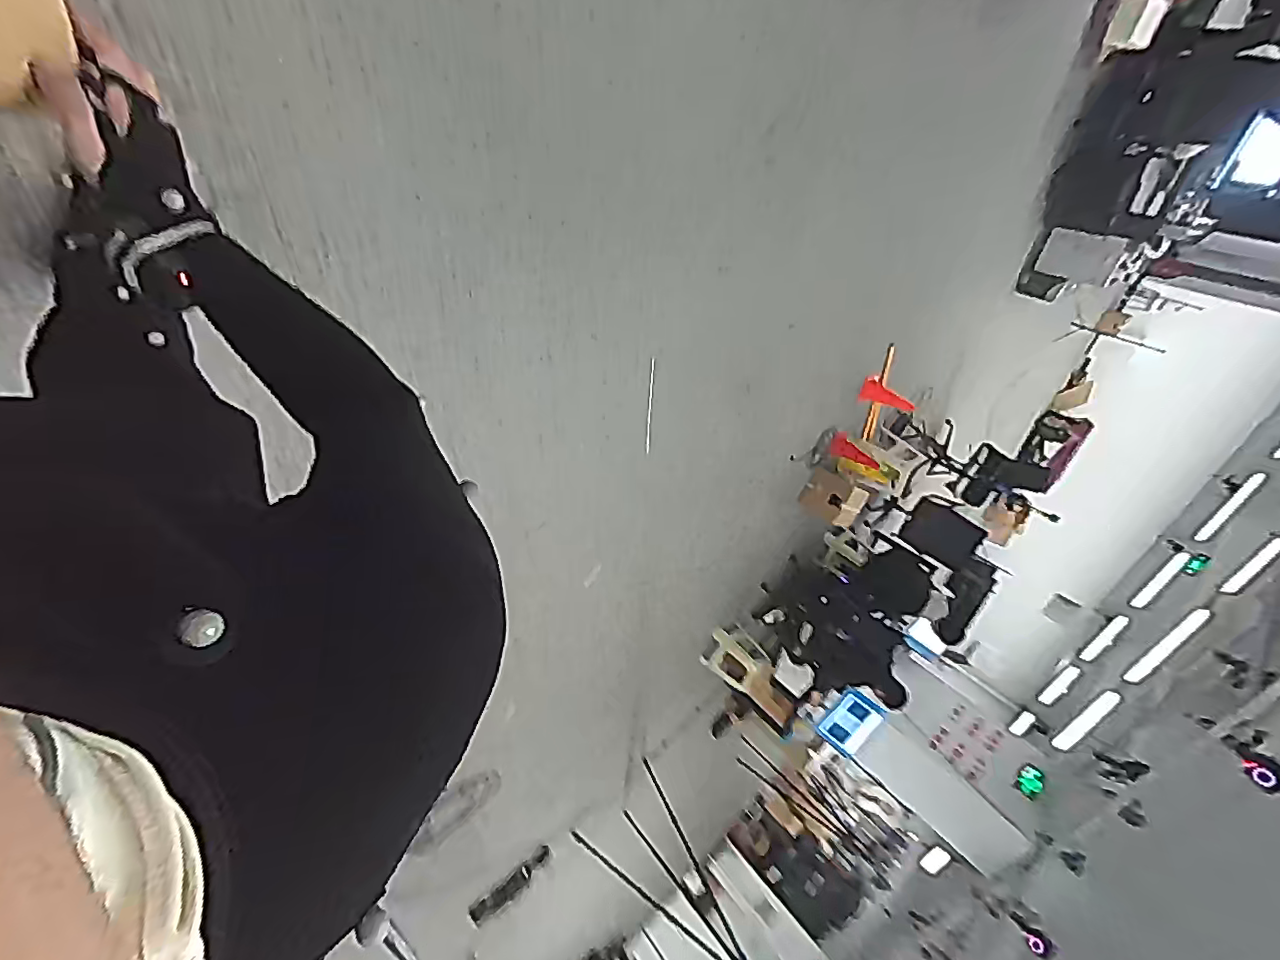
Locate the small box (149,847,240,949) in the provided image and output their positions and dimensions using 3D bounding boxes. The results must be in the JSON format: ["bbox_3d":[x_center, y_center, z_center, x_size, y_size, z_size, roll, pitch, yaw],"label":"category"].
[{"bbox_3d":[-1.389,1.299,1.689,0.168,0.176,0.179,-25,135,-33],"label":"small box"}]

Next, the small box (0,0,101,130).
[{"bbox_3d":[-0.554,-0.393,0.409,0.168,0.176,0.179,-19,119,-45],"label":"small box"}]
